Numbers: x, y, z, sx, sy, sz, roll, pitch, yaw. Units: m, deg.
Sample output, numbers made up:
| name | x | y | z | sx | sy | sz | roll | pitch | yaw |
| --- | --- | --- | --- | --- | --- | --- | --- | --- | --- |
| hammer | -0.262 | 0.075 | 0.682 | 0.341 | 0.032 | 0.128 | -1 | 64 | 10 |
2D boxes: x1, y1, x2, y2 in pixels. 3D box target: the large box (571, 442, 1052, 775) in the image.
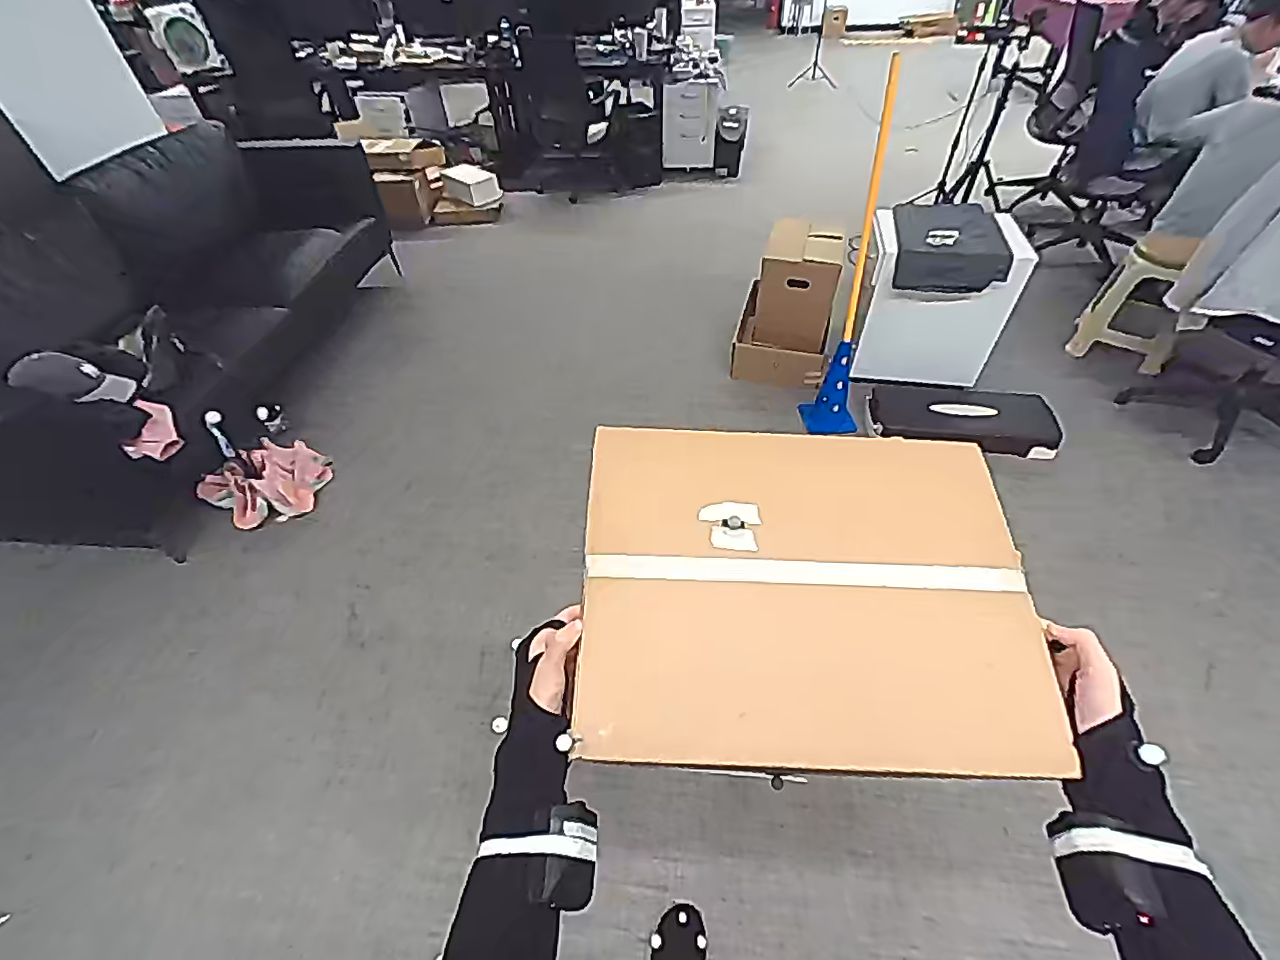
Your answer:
| name | x | y | z | sx | sy | sz | roll | pitch | yaw |
| --- | --- | --- | --- | --- | --- | --- | --- | --- | --- |
| large box | 0.145 | 0.165 | 0.641 | 0.408 | 0.320 | 0.320 | 2 | 61 | 1 |
